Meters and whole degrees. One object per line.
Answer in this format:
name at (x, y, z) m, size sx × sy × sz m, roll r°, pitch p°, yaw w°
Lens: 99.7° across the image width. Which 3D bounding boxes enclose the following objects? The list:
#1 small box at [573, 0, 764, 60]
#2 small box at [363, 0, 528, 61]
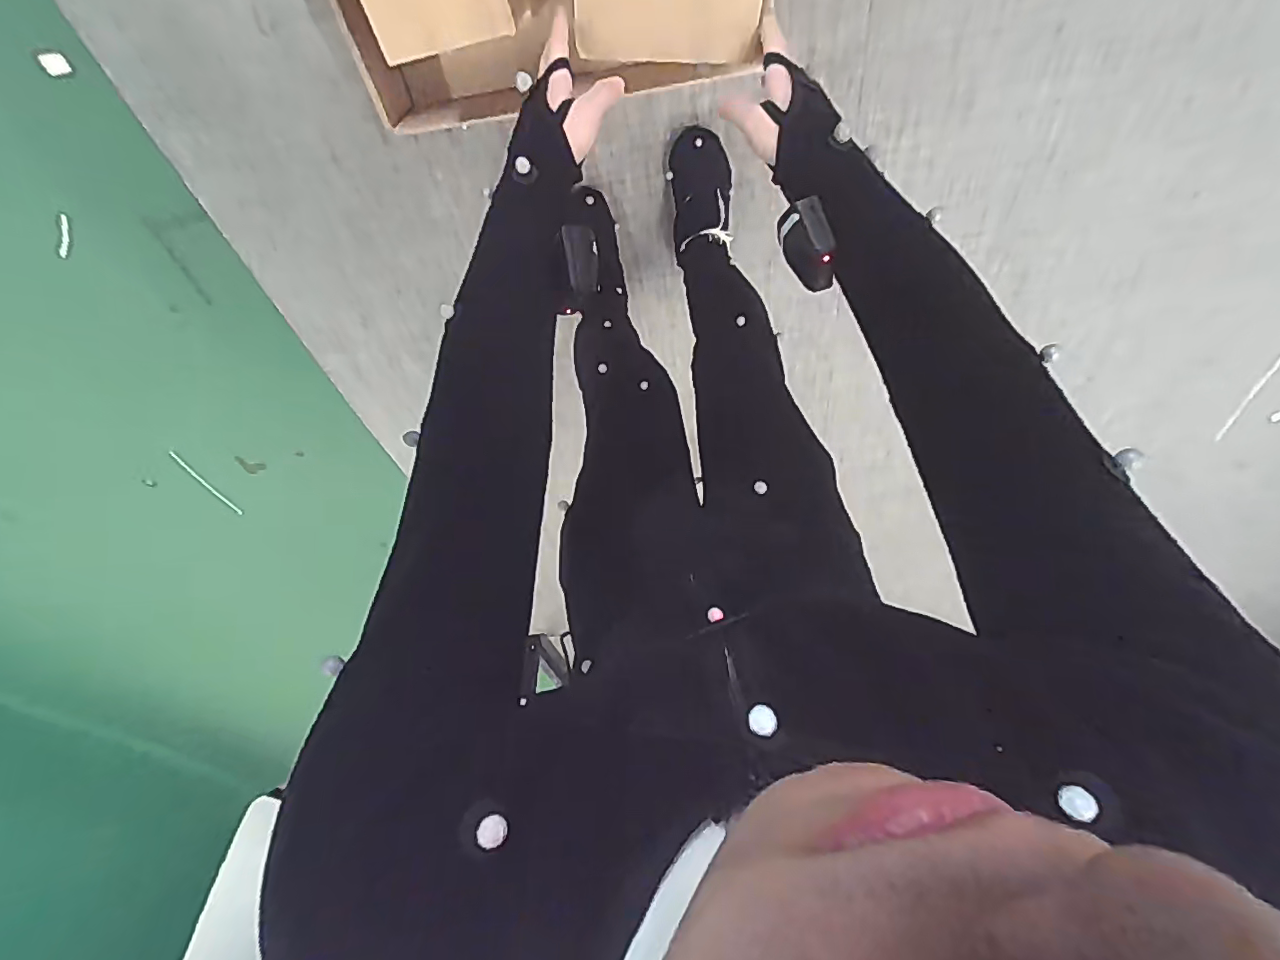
small box at (0.026, -0.521, 0.509) m, size 0.179 × 0.176 × 0.168 m, roll 1°, pitch 139°, yaw -1°
small box at (-0.241, -0.634, 0.635) m, size 0.168 × 0.176 × 0.179 m, roll -9°, pitch 137°, yaw 7°
